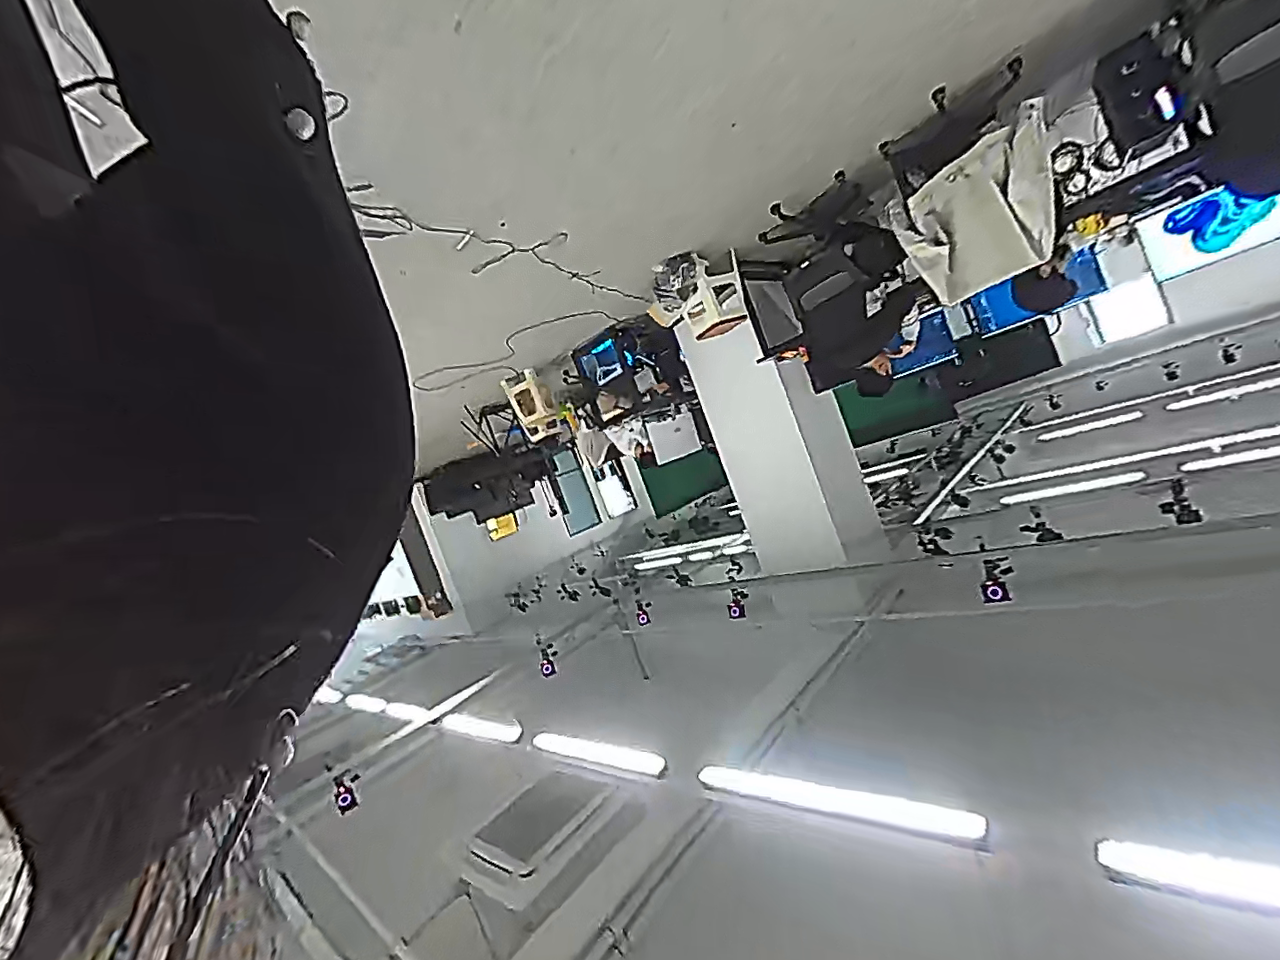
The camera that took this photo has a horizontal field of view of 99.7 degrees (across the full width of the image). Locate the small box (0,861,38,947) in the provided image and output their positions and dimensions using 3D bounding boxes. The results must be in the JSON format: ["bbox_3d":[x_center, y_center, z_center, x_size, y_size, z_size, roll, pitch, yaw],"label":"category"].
[{"bbox_3d":[-1.871,1.240,1.536,0.168,0.176,0.179,-14,-173,43],"label":"small box"}]
